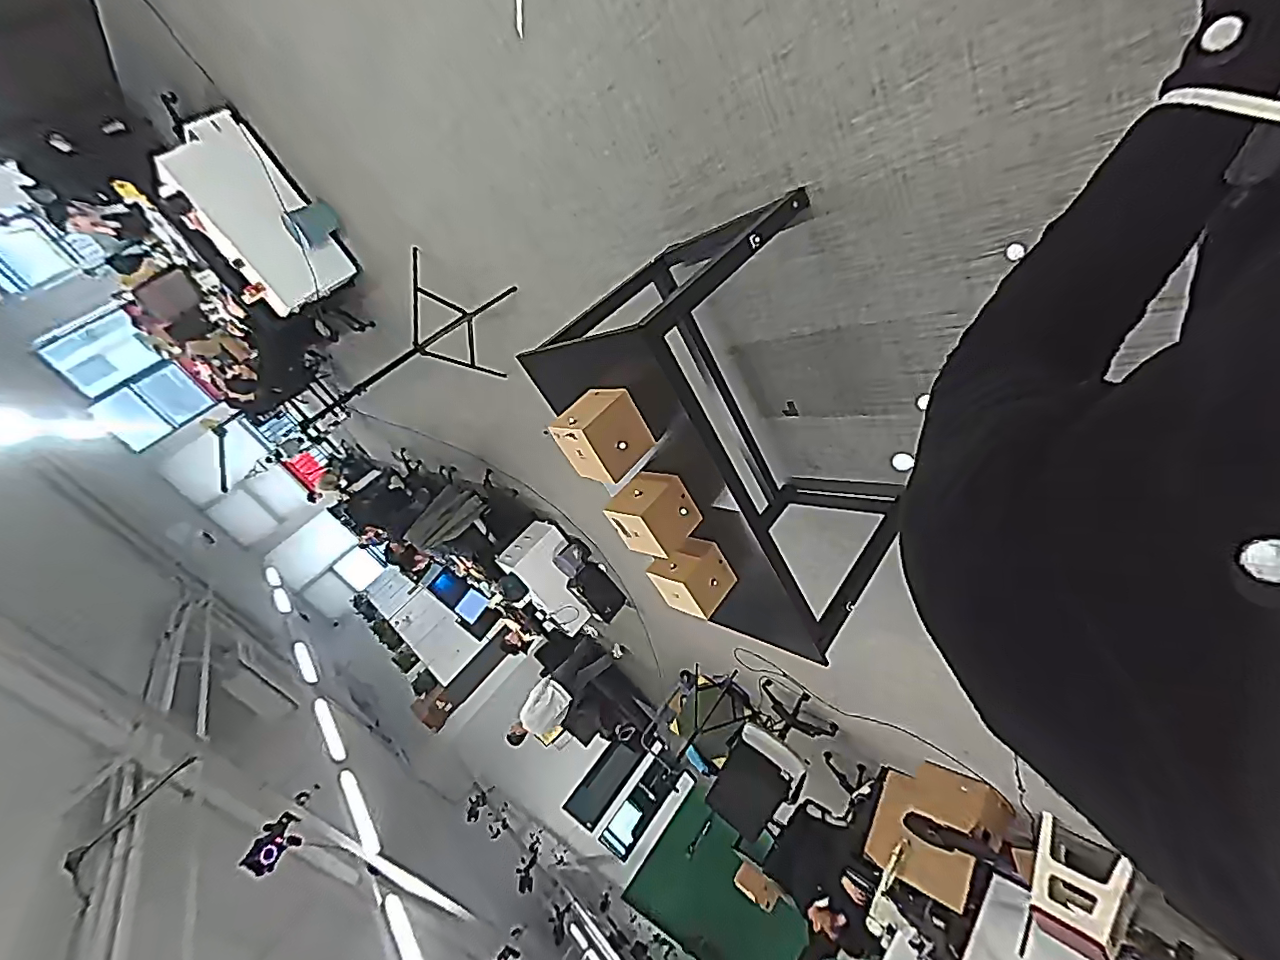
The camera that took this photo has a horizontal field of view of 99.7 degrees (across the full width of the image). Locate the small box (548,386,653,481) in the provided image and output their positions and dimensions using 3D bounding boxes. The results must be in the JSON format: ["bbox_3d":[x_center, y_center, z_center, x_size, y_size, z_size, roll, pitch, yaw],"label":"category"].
[{"bbox_3d":[-0.097,-0.123,1.401,0.168,0.176,0.179,11,141,50],"label":"small box"}]

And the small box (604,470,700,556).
[{"bbox_3d":[0.036,0.087,1.532,0.179,0.176,0.168,7,137,51],"label":"small box"}]

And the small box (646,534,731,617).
[{"bbox_3d":[0.158,0.285,1.659,0.179,0.176,0.168,8,137,52],"label":"small box"}]
